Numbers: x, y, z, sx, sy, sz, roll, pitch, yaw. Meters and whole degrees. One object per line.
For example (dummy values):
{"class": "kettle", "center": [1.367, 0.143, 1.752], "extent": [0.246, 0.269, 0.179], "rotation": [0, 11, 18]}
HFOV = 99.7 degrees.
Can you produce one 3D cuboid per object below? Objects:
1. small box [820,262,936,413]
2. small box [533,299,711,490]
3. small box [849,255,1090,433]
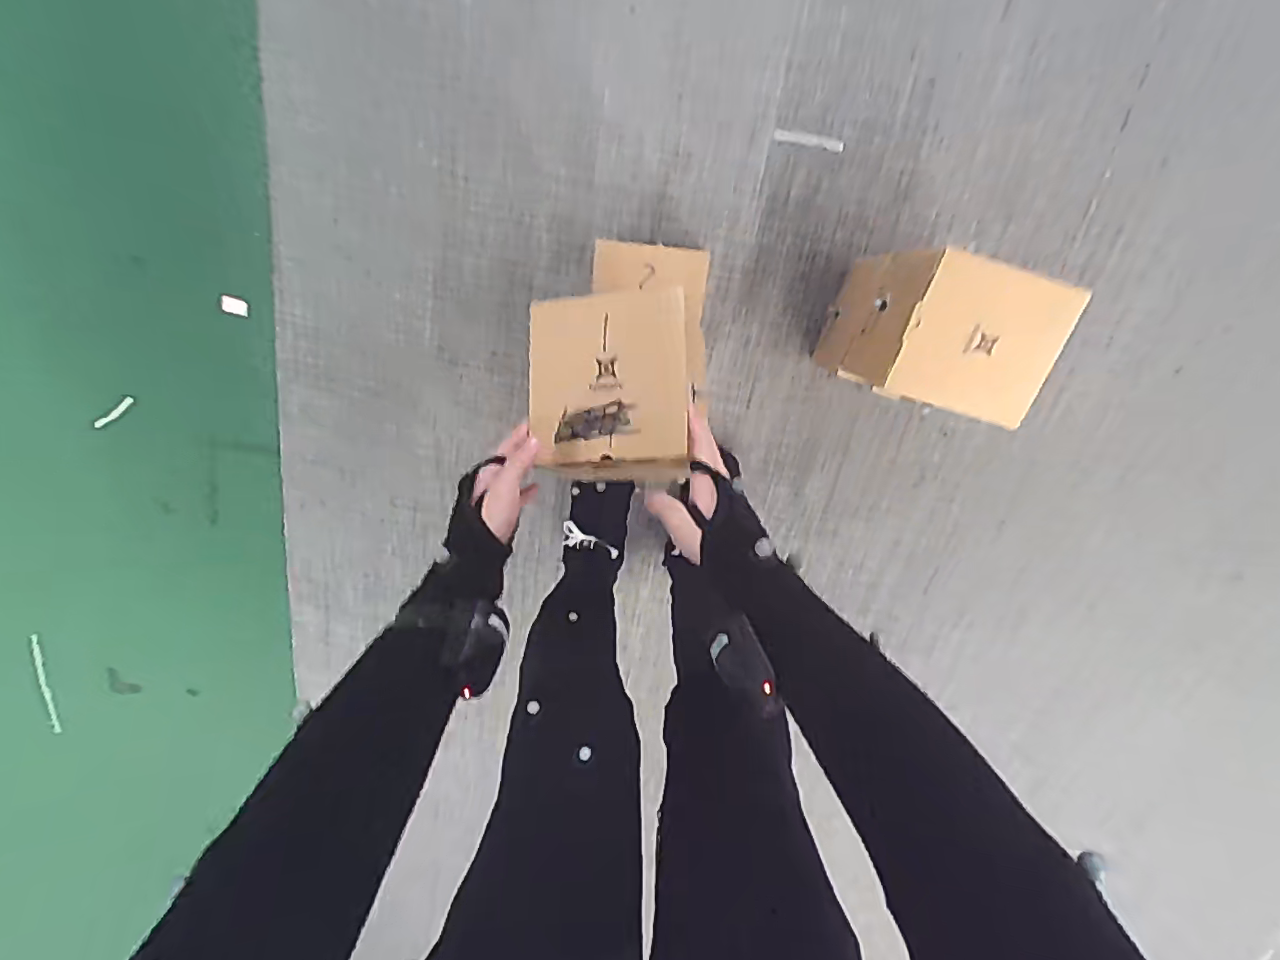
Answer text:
{"class": "small box", "center": [0.402, -0.229, 0.852], "extent": [0.168, 0.176, 0.179], "rotation": [17, 111, -2]}
{"class": "small box", "center": [-0.012, -0.081, 0.619], "extent": [0.168, 0.176, 0.179], "rotation": [-4, 83, 14]}
{"class": "small box", "center": [0.401, -0.180, 0.696], "extent": [0.179, 0.176, 0.168], "rotation": [16, 110, 0]}
